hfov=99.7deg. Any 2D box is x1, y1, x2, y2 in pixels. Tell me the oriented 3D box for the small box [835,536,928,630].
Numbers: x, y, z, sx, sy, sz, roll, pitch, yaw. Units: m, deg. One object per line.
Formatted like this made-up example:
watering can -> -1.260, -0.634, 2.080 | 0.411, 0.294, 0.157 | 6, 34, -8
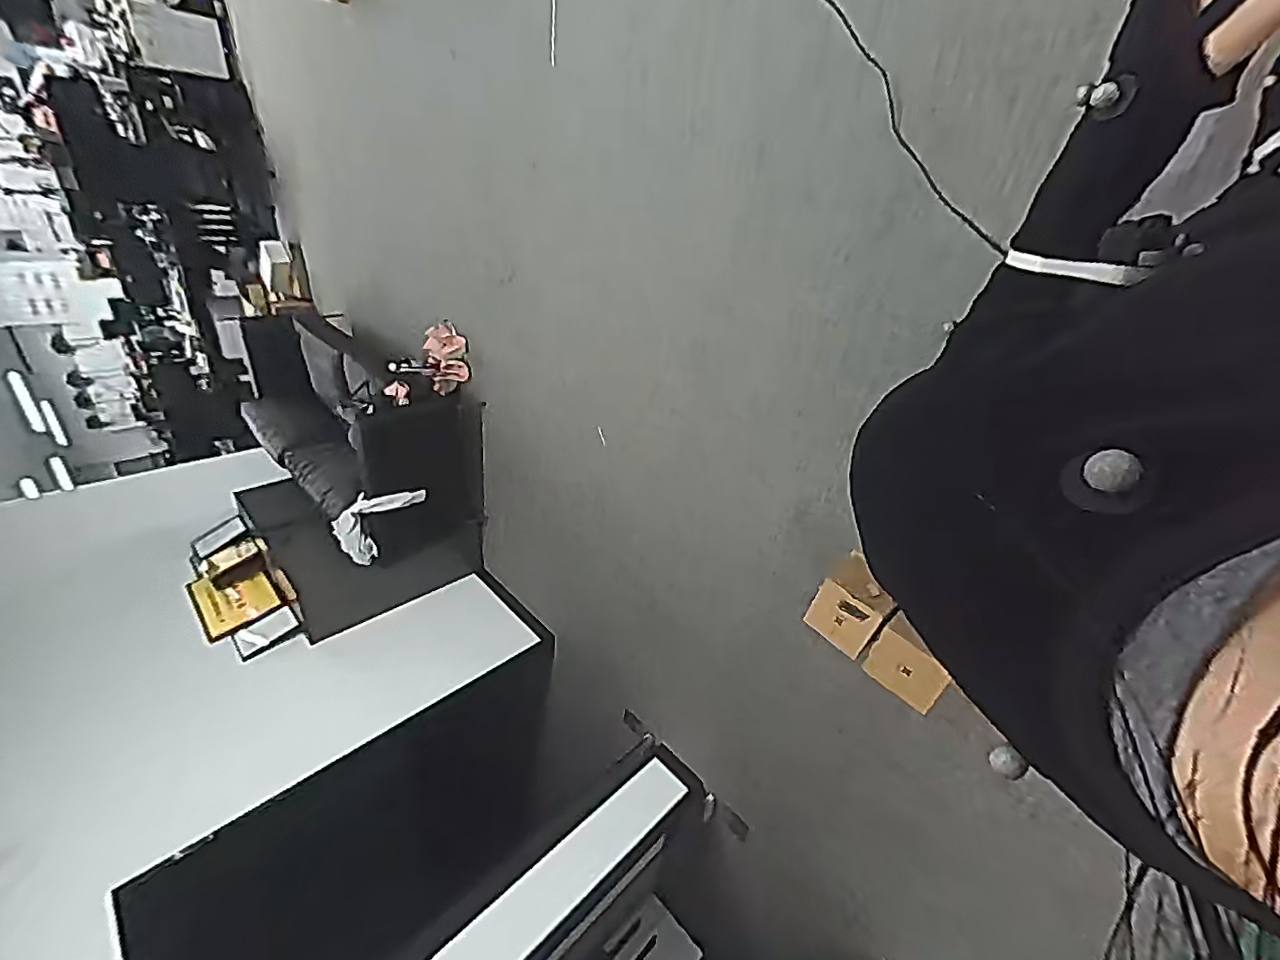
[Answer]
small box -> 0.701, 0.291, 1.565 | 0.168, 0.176, 0.179 | 33, 127, 34
